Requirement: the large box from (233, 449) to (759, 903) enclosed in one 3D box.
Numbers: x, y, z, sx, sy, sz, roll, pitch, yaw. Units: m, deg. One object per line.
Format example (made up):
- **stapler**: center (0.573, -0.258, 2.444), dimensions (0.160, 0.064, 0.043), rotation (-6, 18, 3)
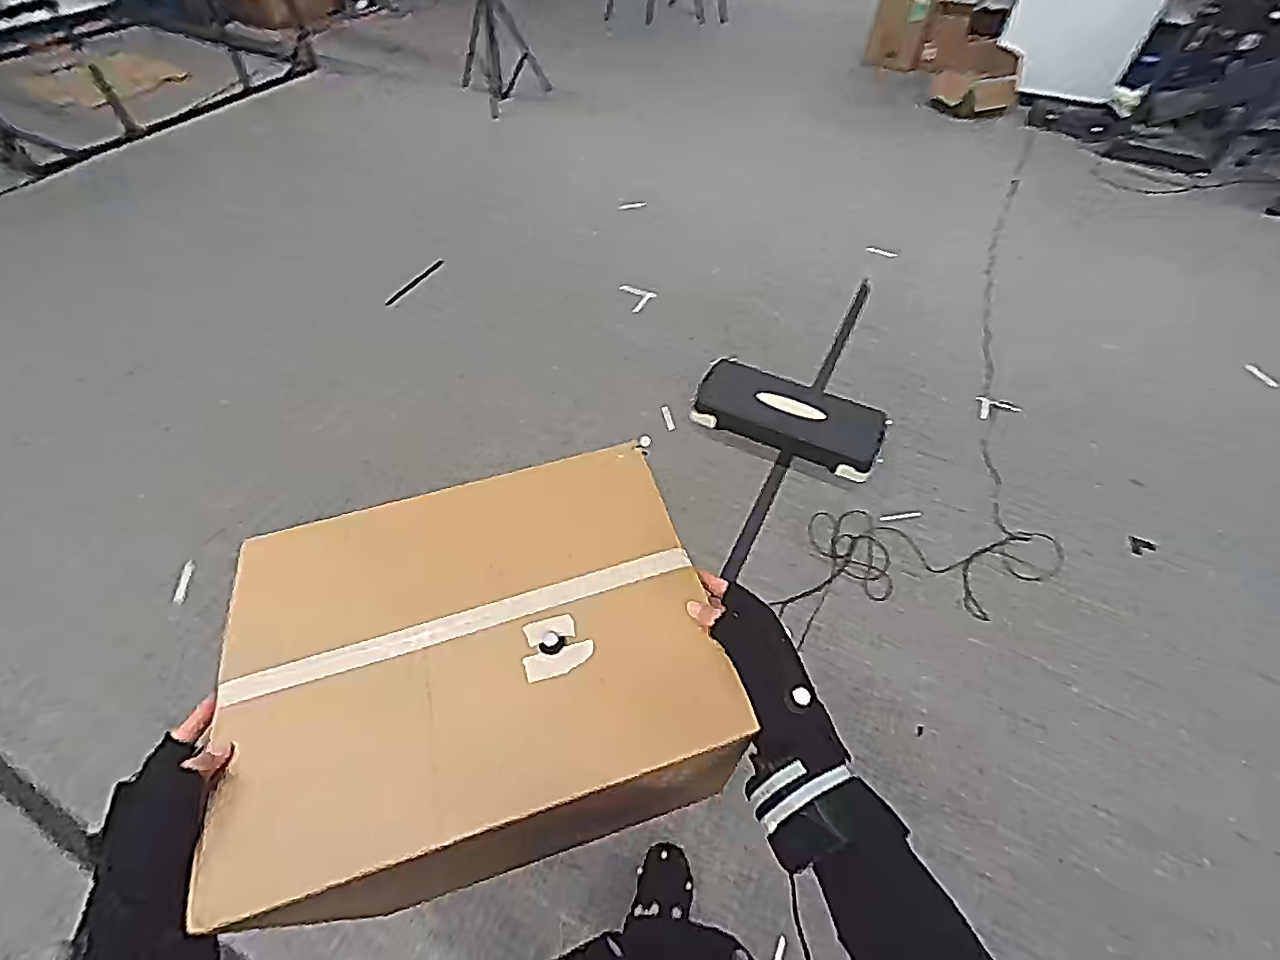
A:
- **large box**: center (-0.131, 0.217, 0.606), dimensions (0.408, 0.320, 0.320), rotation (-14, 53, -9)
